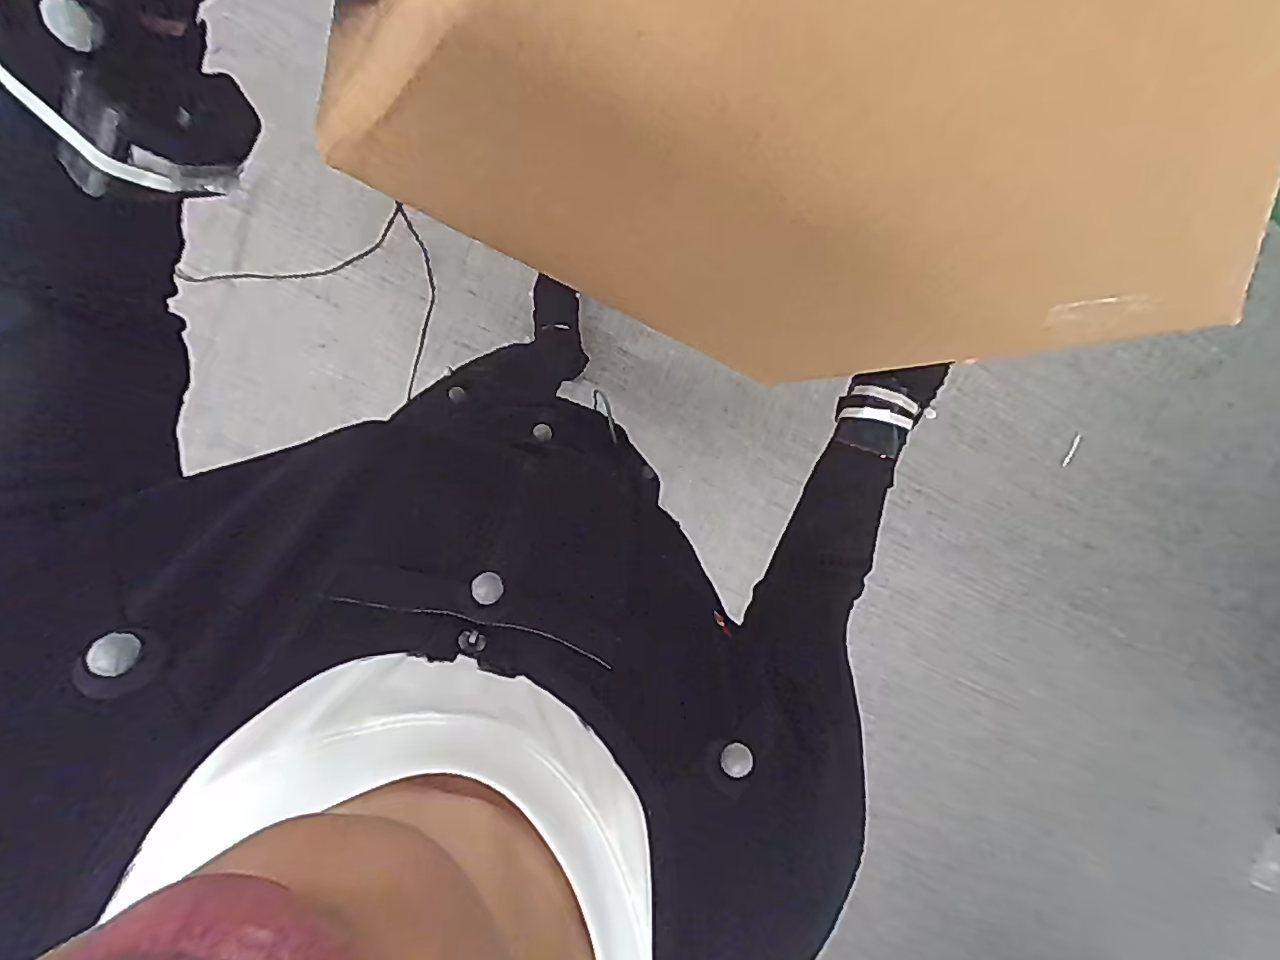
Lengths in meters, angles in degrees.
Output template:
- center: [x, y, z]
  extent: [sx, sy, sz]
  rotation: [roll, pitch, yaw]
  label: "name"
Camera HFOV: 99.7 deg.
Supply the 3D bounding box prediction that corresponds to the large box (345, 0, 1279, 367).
- center: [0.115, -0.280, 0.298]
  extent: [0.408, 0.320, 0.320]
  rotation: [11, 83, -47]
  label: "large box"
